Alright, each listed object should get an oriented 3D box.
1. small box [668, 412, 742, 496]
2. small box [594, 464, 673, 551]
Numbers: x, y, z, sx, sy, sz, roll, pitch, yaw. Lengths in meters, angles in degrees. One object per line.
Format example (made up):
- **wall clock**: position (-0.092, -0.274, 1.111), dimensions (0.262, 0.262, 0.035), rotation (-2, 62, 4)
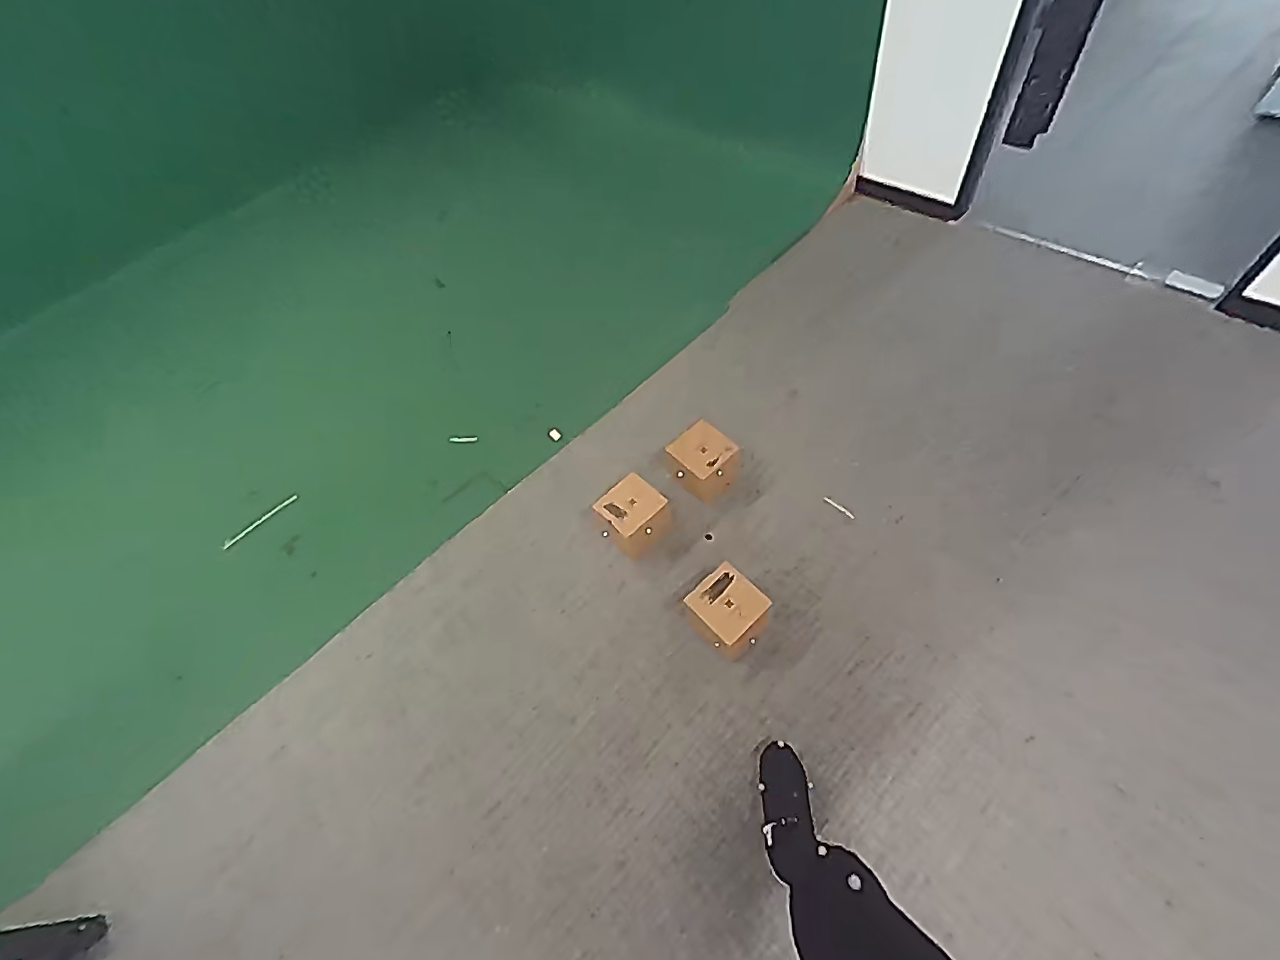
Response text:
- **small box**: position (0.214, -0.080, 1.753), dimensions (0.168, 0.176, 0.179), rotation (-39, 59, -13)
- **small box**: position (-0.013, 0.090, 1.692), dimensions (0.179, 0.176, 0.168), rotation (-41, 60, -14)
